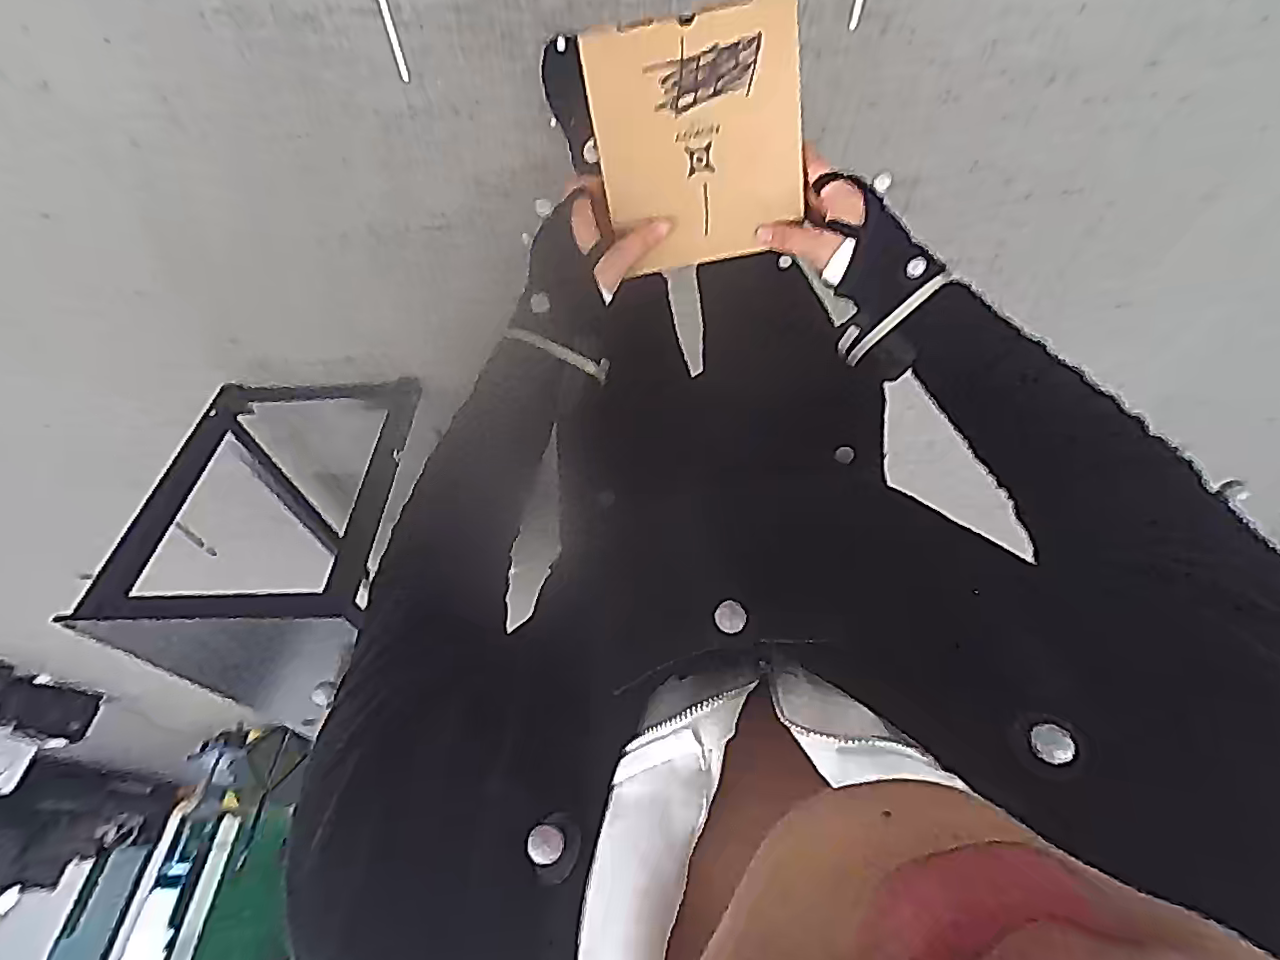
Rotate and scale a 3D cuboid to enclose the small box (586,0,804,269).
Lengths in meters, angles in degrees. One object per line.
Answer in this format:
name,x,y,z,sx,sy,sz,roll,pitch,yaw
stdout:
small box,0.048,-0.313,0.512,0.168,0.176,0.179,-10,118,4
